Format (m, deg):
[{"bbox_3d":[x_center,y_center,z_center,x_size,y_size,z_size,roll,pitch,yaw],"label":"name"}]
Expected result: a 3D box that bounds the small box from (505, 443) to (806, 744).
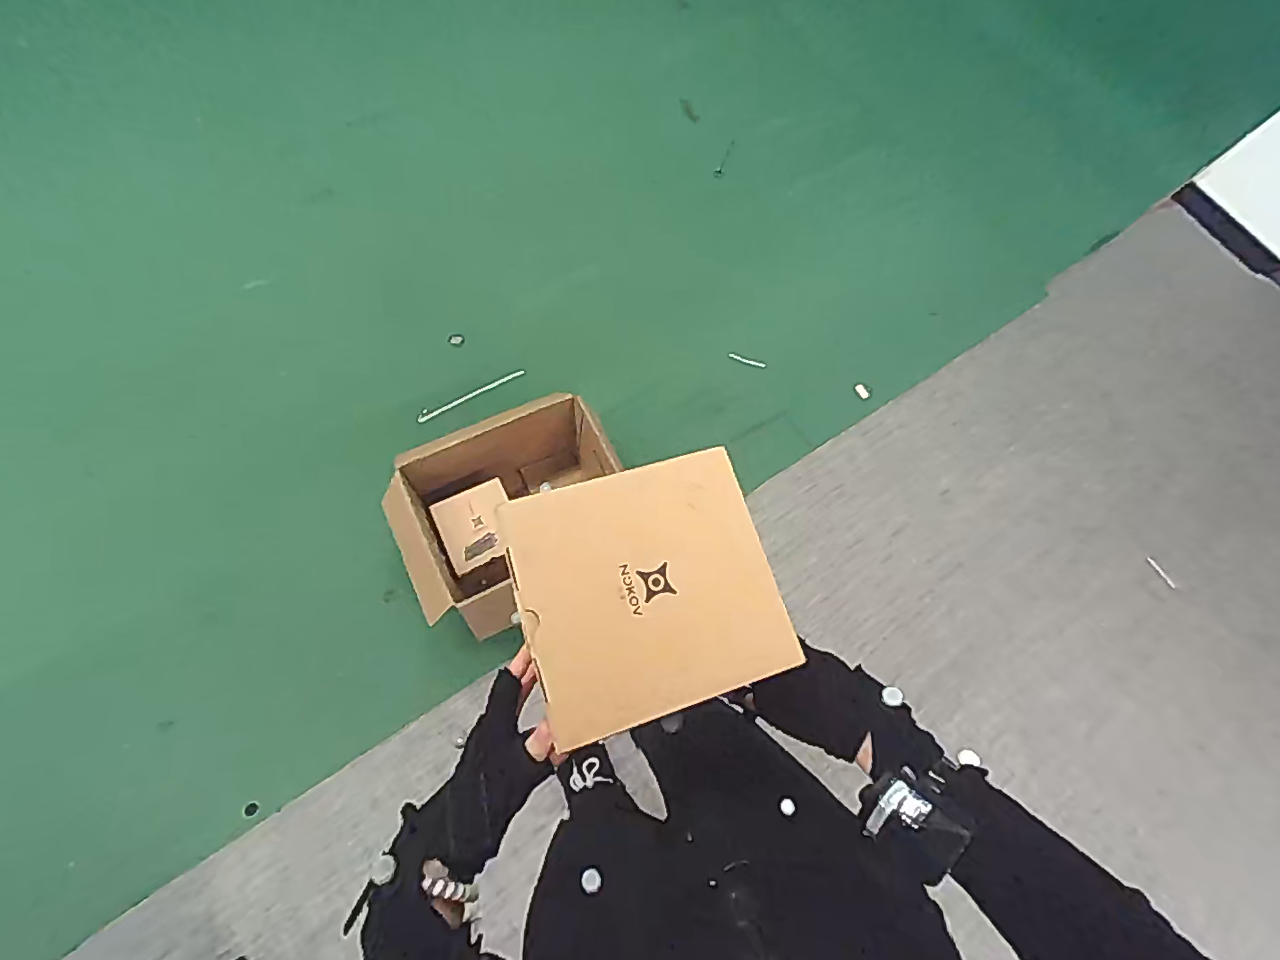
[{"bbox_3d":[-0.001,0.089,0.445,0.179,0.176,0.168,-16,76,-13],"label":"small box"}]
